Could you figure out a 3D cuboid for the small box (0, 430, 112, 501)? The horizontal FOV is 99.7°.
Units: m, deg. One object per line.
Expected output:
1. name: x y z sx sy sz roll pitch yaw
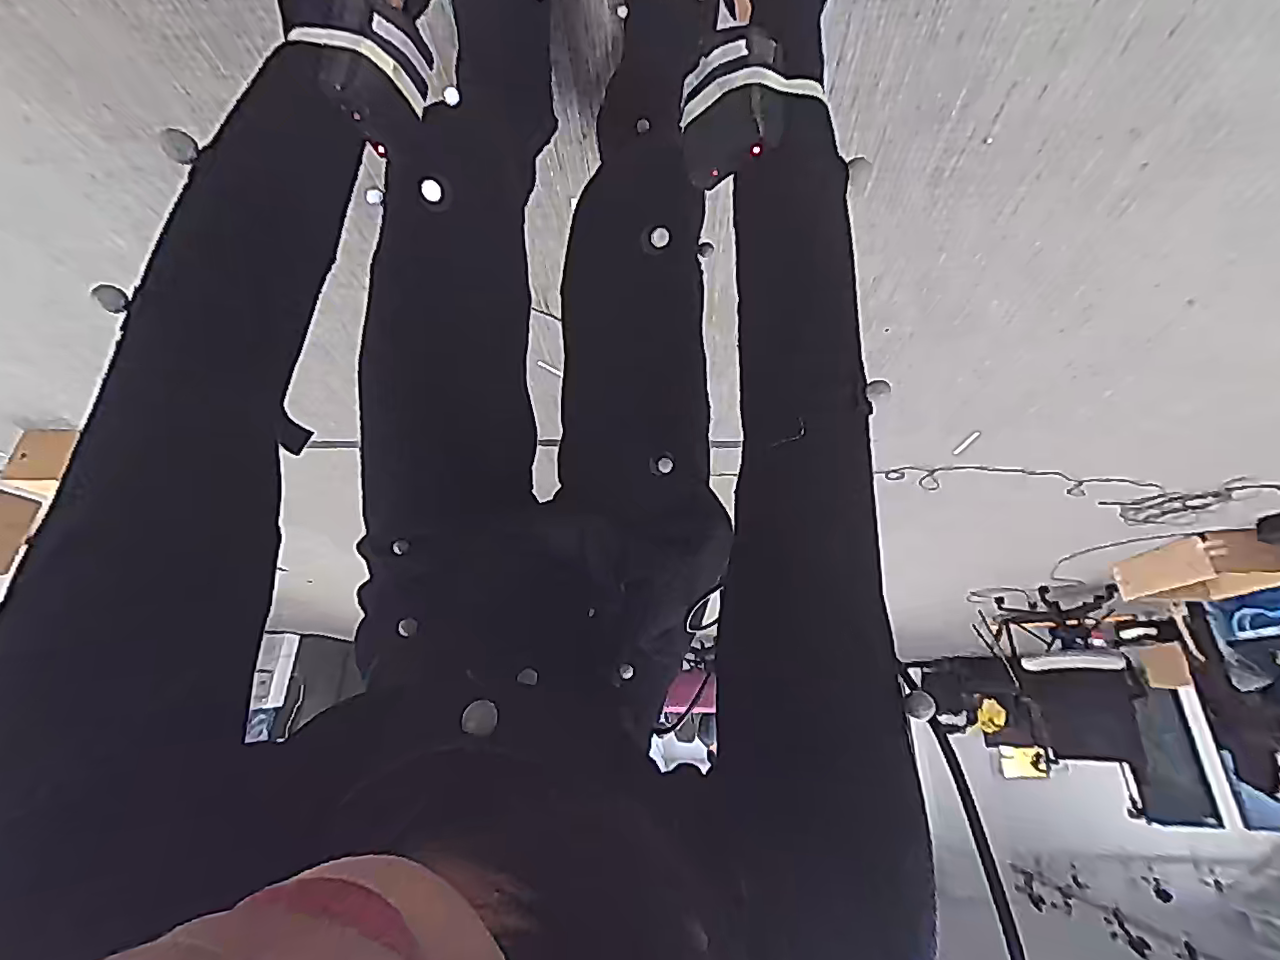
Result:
1. small box: -1.808 -0.044 1.669 0.179 0.176 0.168 -1 157 3
